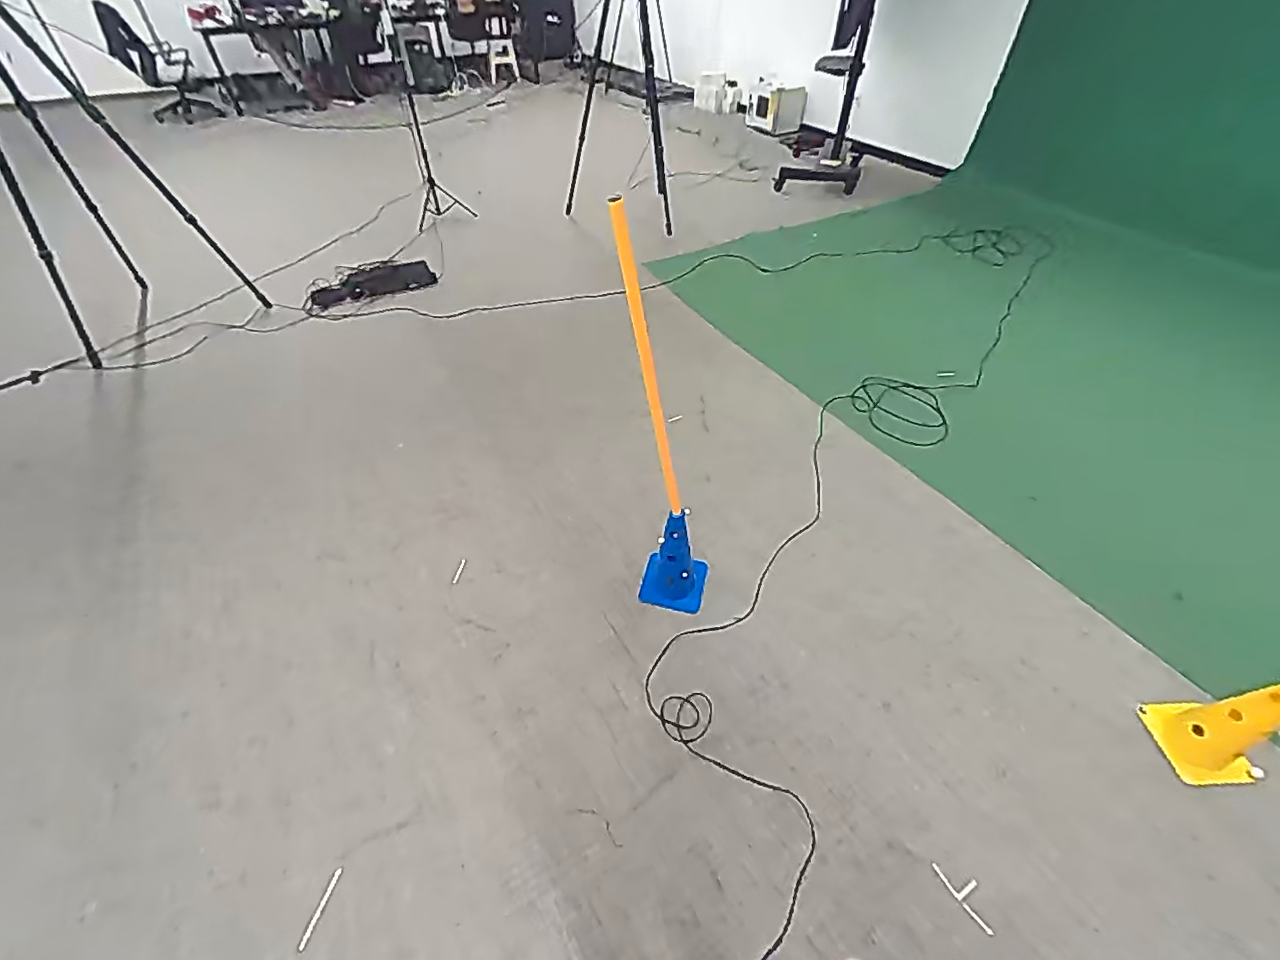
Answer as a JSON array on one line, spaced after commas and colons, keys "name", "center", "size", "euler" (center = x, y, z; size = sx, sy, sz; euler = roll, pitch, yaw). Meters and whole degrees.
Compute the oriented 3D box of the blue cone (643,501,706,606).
[{"name": "blue cone", "center": [0.106, 0.206, 1.629], "size": [0.193, 0.380, 0.192], "euler": [8, 47, 10]}]
